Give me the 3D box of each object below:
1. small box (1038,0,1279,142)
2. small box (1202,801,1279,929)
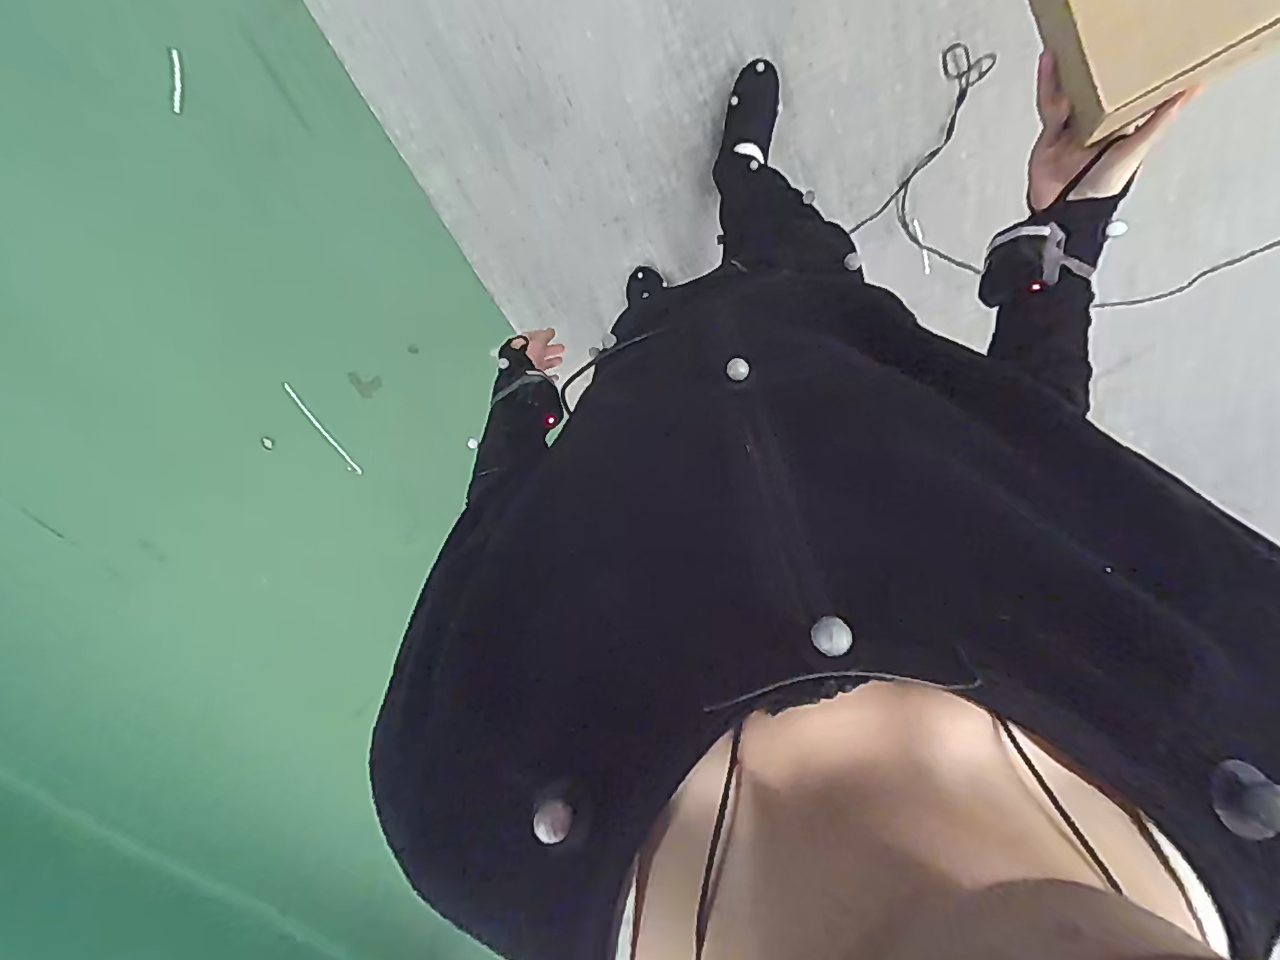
[{"bbox_3d":[0.378,-0.363,0.345,0.179,0.168,0.176,-19,98,38],"label":"small box"},{"bbox_3d":[1.367,0.802,1.137,0.179,0.176,0.168,-11,117,8],"label":"small box"}]
